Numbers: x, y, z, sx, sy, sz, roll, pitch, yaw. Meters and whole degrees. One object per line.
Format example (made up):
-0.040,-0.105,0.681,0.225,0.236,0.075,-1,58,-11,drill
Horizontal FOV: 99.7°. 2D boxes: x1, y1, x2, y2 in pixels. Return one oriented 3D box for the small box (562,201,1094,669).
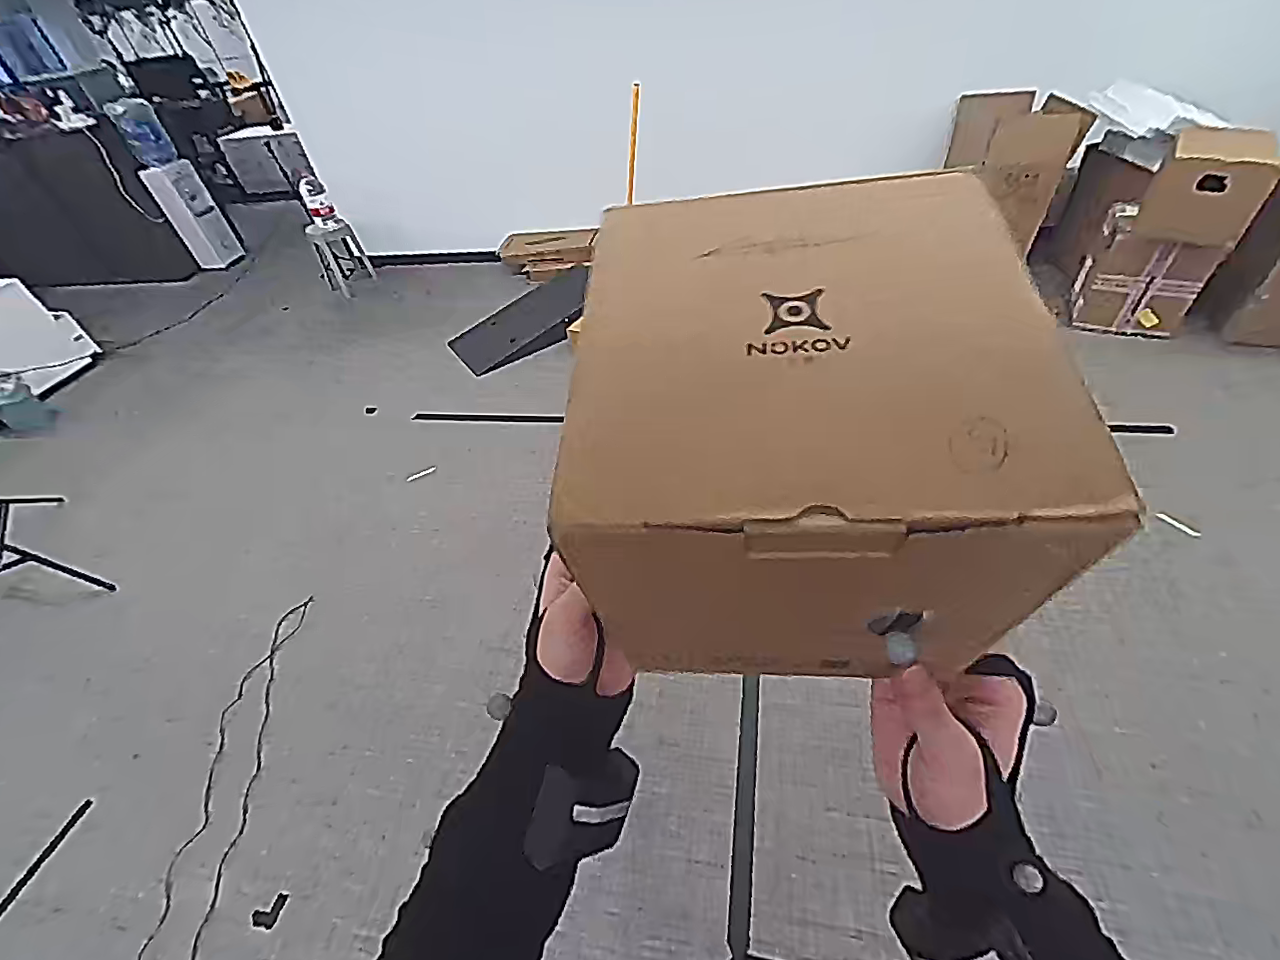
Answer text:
0.067,-0.008,0.279,0.168,0.176,0.179,-4,55,7,small box
